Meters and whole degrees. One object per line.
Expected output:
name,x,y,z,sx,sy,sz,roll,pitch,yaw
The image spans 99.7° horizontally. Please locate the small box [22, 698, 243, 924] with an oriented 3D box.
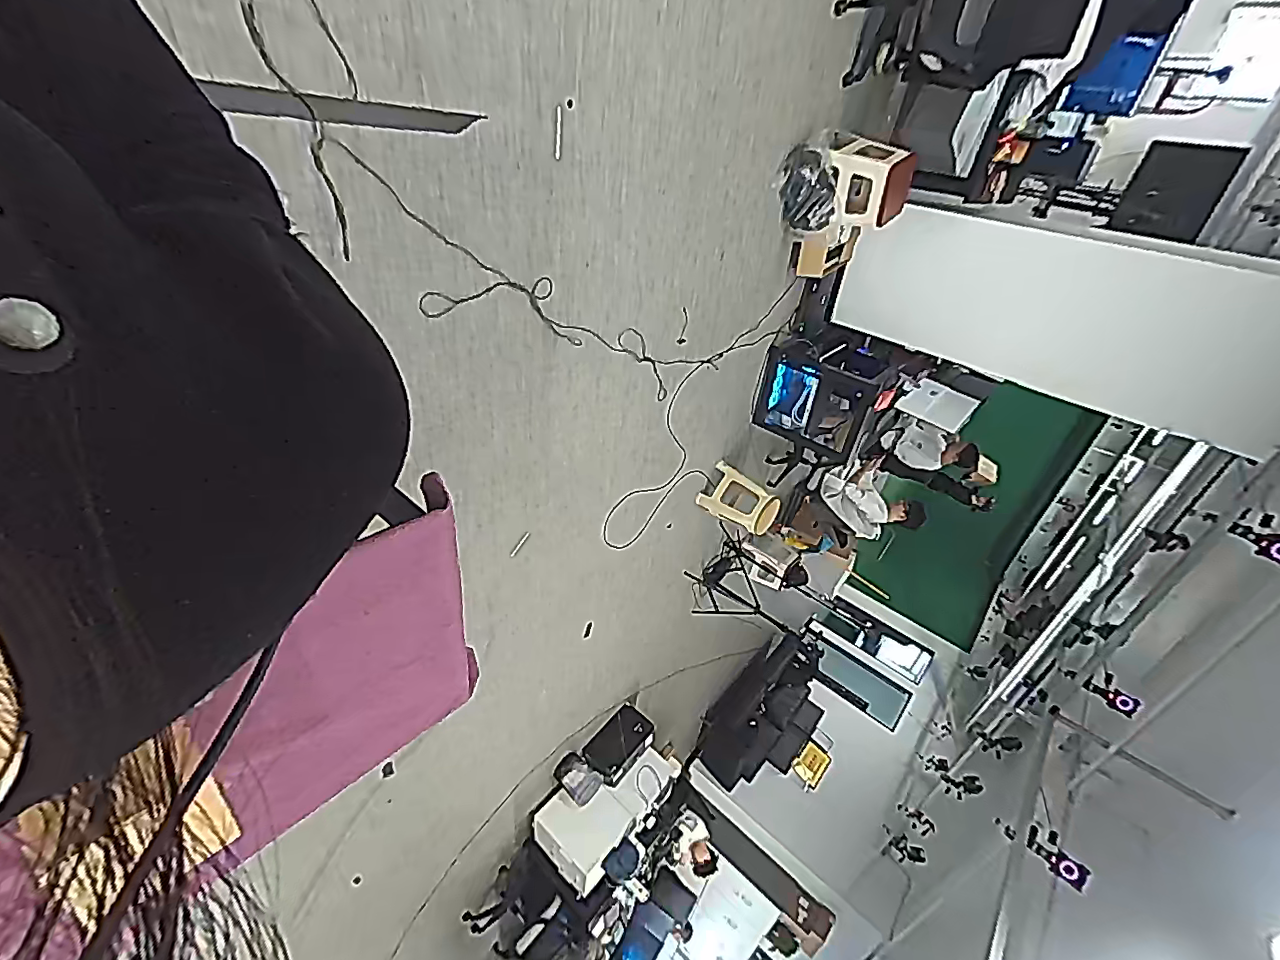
small box,-0.695,0.446,0.751,0.168,0.176,0.179,-28,139,-44
